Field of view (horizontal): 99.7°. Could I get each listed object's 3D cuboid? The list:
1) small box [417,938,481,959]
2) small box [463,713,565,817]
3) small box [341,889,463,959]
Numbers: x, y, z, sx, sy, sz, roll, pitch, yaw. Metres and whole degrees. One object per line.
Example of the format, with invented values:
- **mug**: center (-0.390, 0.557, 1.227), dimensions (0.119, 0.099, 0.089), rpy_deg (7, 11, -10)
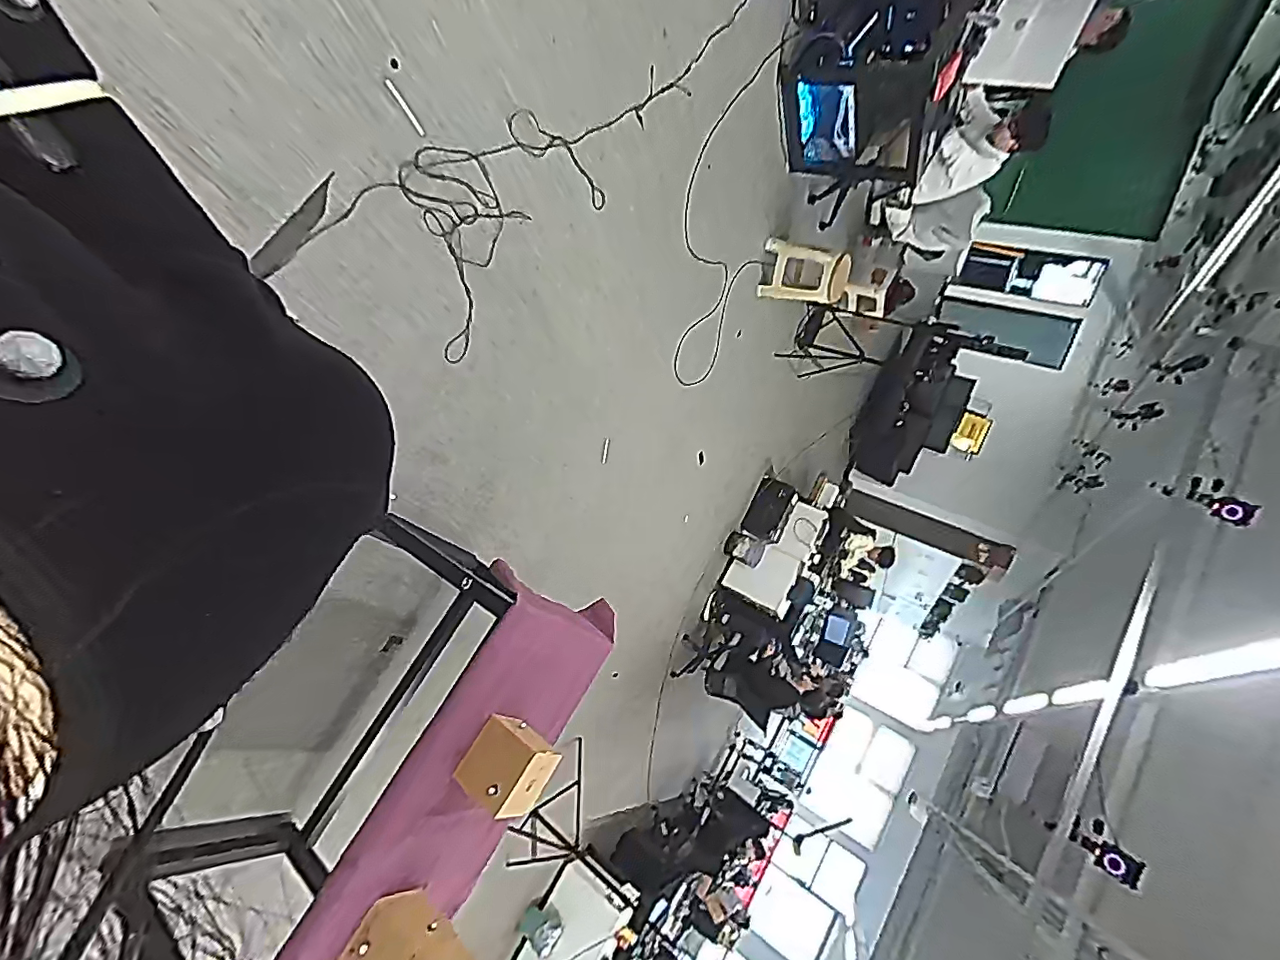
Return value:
- **small box**: center (-0.450, 1.202, 1.237), dimensions (0.168, 0.176, 0.179), rpy_deg (-57, 150, -17)
- **small box**: center (-0.336, 0.748, 1.425), dimensions (0.179, 0.176, 0.168), rpy_deg (-57, 150, -16)
- **small box**: center (-0.579, 1.146, 1.321), dimensions (0.168, 0.176, 0.179), rpy_deg (-58, 150, -15)
